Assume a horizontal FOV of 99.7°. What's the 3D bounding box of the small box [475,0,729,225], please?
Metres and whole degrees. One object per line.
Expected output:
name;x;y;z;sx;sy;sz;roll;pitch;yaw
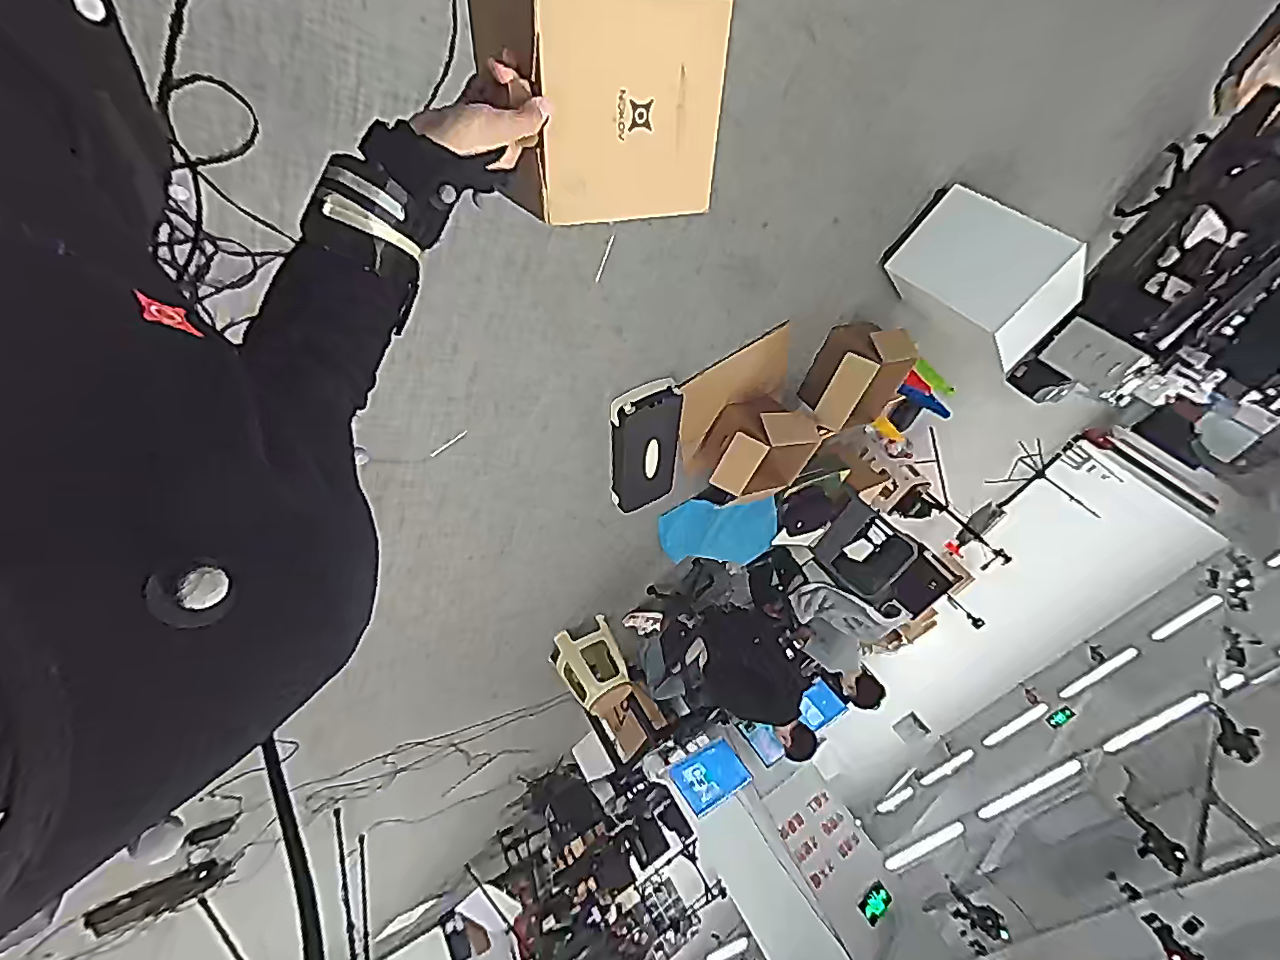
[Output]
small box;-0.045;-0.356;0.511;0.179;0.176;0.168;-19;136;-25
